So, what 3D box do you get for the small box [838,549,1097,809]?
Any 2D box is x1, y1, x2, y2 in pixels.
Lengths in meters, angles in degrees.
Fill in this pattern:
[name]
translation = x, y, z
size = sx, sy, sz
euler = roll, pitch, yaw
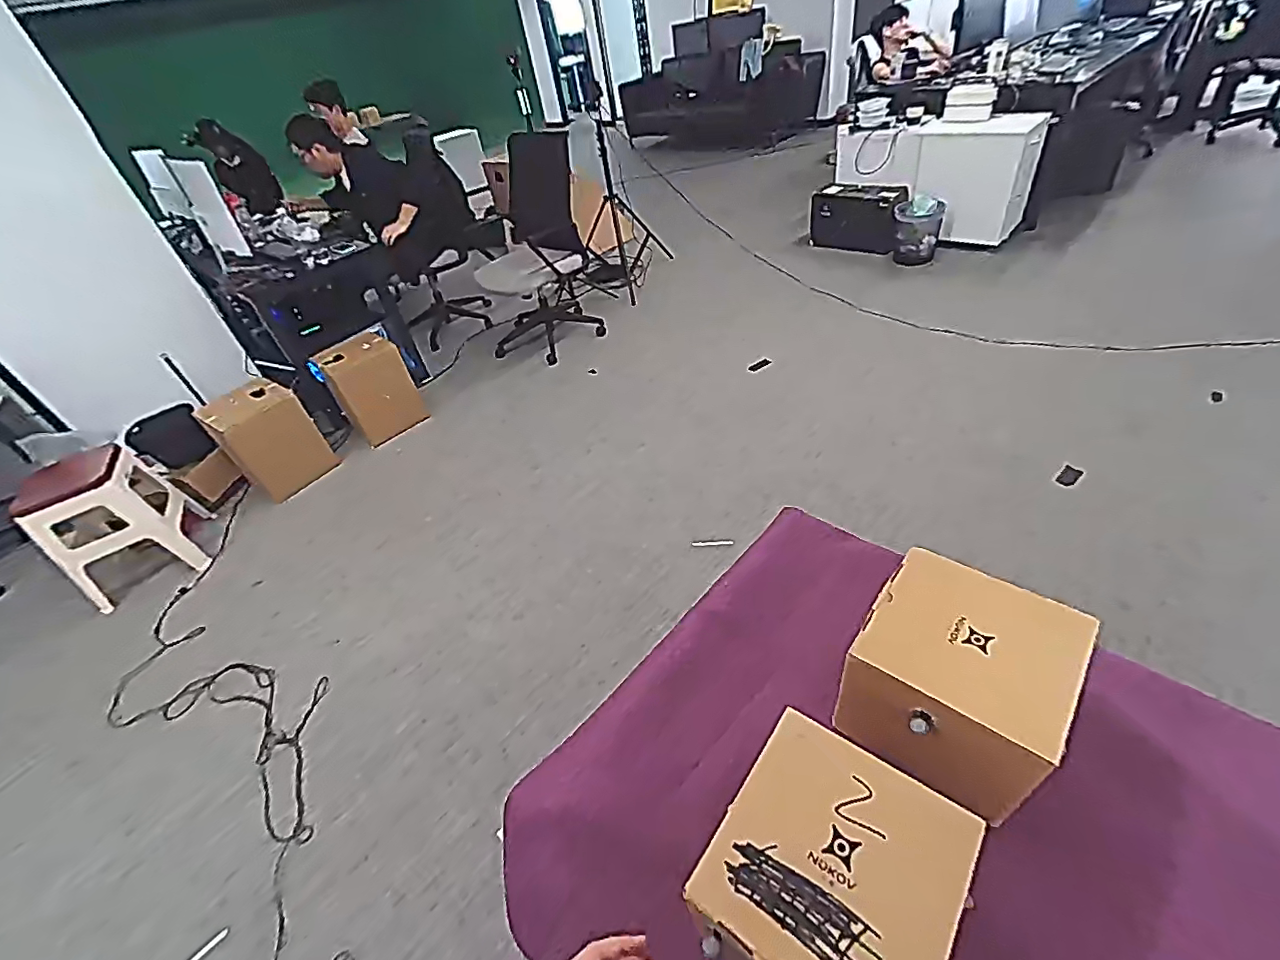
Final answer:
[small box]
translation = 0.332, 0.212, 0.576
size = 0.179, 0.176, 0.168
euler = 24, 53, 34
